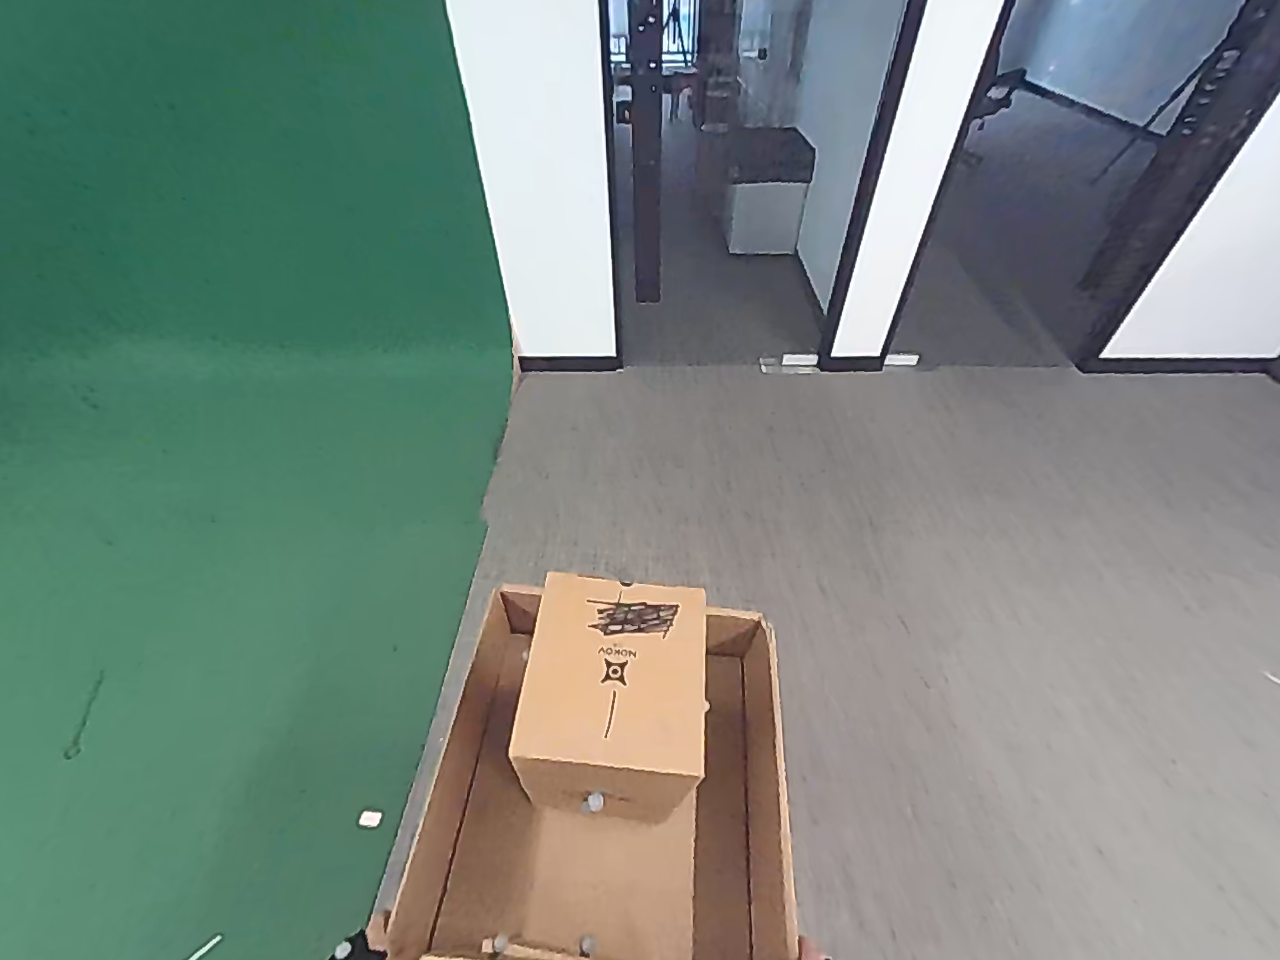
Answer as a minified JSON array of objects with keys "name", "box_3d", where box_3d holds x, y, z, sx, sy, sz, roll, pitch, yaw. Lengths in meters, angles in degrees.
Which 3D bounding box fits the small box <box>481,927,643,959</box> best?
[{"name":"small box","box_3d":[-0.078,0.546,0.510,0.179,0.176,0.168,10,50,2]}]

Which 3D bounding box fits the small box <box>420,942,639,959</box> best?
[{"name":"small box","box_3d":[-0.077,0.444,0.383,0.179,0.176,0.168,7,51,-2]}]

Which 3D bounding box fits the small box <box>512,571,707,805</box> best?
[{"name":"small box","box_3d":[-0.026,0.220,0.566,0.168,0.176,0.179,7,52,0]}]
